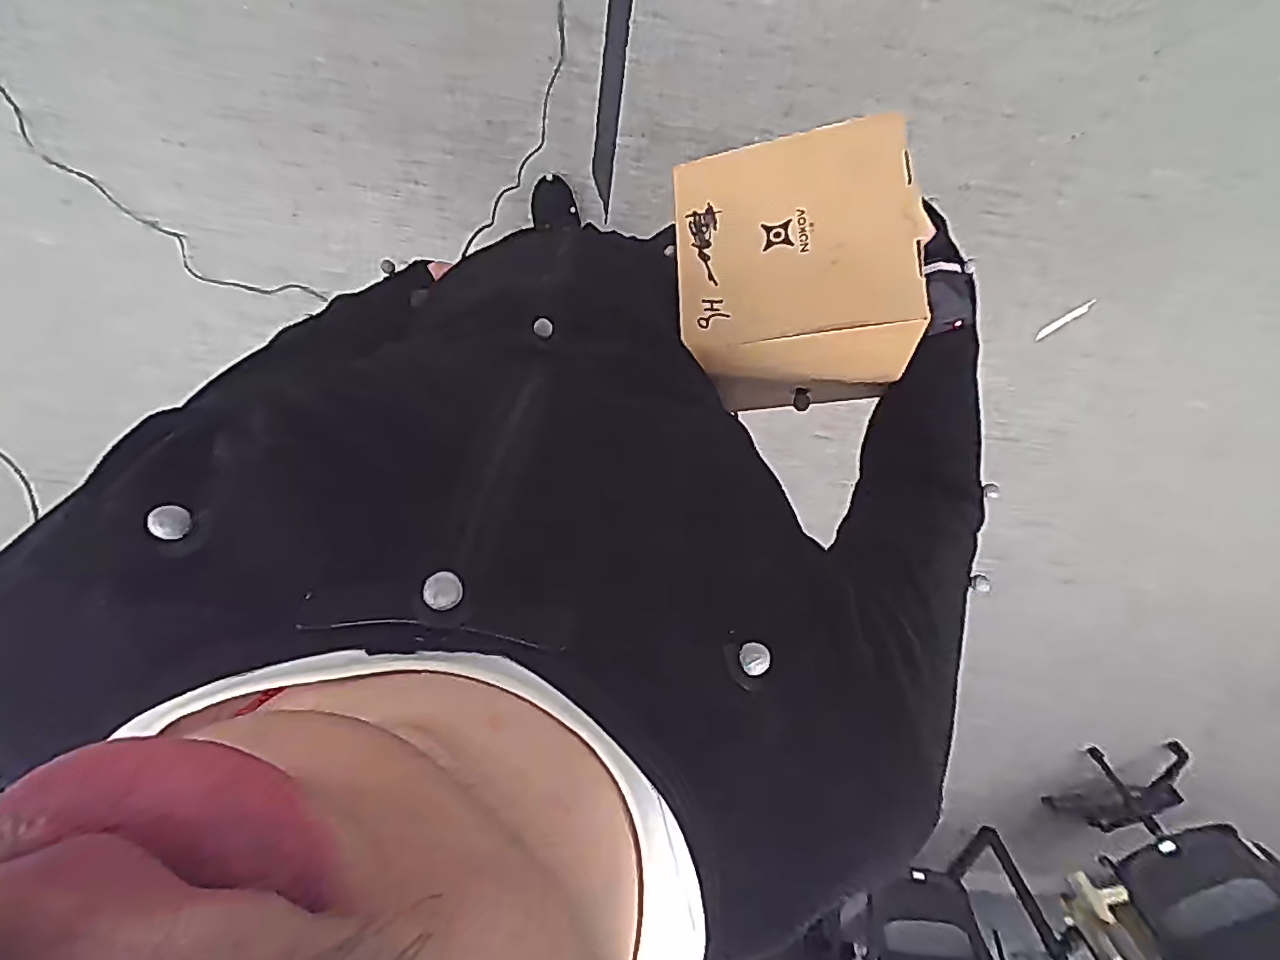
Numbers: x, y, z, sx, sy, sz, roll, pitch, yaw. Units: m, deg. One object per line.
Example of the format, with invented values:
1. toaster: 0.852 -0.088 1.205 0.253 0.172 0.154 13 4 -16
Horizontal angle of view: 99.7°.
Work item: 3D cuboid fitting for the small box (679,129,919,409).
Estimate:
1. small box: 0.138 -0.172 0.500 0.179 0.176 0.168 -4 79 16
